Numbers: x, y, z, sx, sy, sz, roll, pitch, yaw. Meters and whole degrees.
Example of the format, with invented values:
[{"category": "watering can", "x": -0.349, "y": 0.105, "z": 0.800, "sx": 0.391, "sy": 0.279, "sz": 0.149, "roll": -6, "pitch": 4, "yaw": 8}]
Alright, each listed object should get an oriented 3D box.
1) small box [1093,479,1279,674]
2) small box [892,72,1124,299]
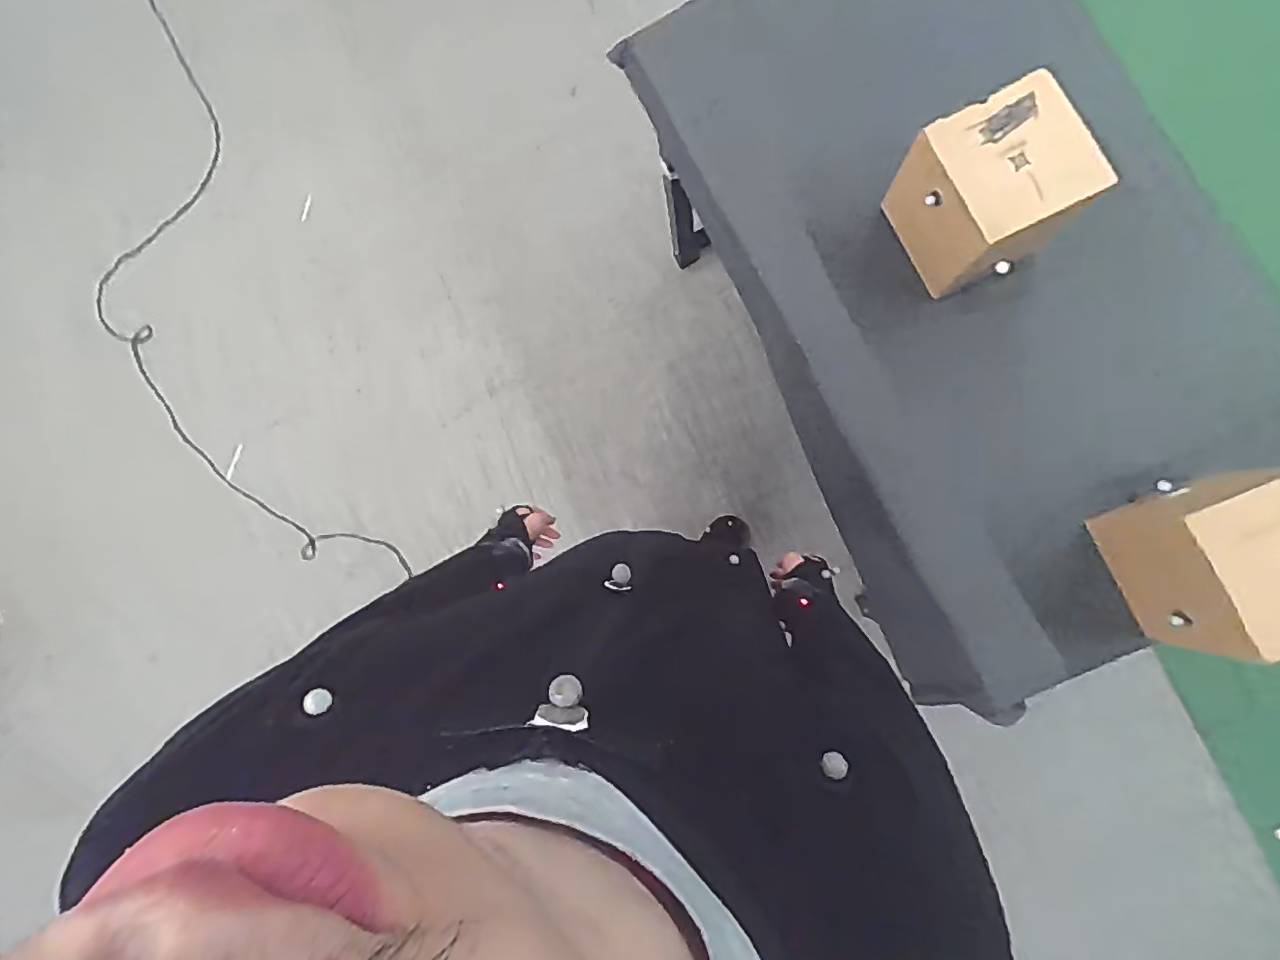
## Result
[{"category": "small box", "x": 0.720, "y": 0.105, "z": 0.654, "sx": 0.168, "sy": 0.176, "sz": 0.179, "roll": -24, "pitch": 81, "yaw": 4}, {"category": "small box", "x": 0.475, "y": -0.382, "z": 0.734, "sx": 0.168, "sy": 0.176, "sz": 0.179, "roll": -25, "pitch": 83, "yaw": 6}]
